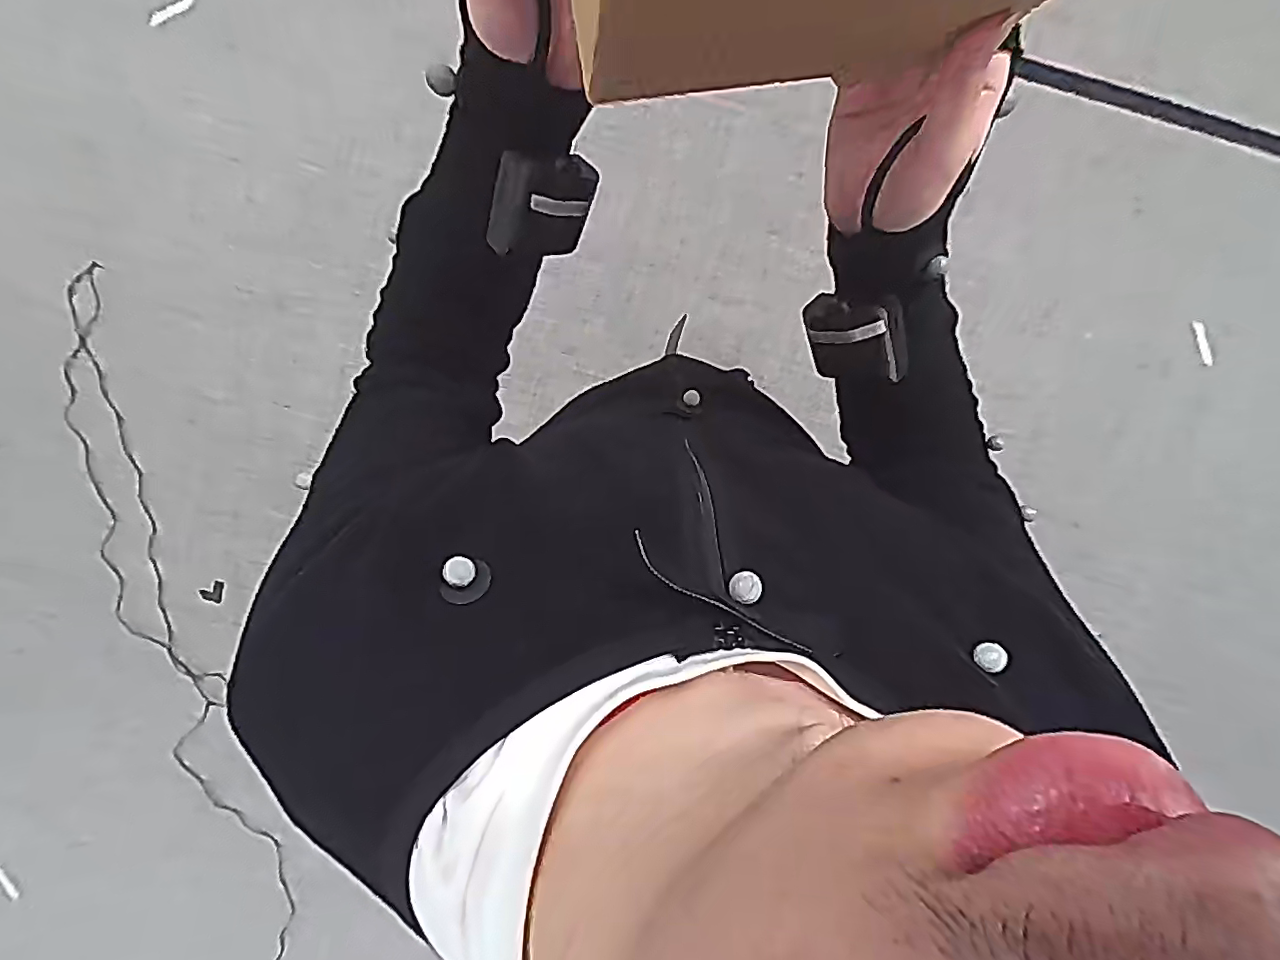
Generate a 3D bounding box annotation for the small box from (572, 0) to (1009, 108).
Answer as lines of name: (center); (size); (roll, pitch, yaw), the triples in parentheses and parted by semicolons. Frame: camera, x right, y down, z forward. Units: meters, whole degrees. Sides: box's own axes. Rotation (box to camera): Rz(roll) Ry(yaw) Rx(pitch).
small box: (0.061, -0.241, 0.154); (0.179, 0.176, 0.168); (-12, 104, -5)
